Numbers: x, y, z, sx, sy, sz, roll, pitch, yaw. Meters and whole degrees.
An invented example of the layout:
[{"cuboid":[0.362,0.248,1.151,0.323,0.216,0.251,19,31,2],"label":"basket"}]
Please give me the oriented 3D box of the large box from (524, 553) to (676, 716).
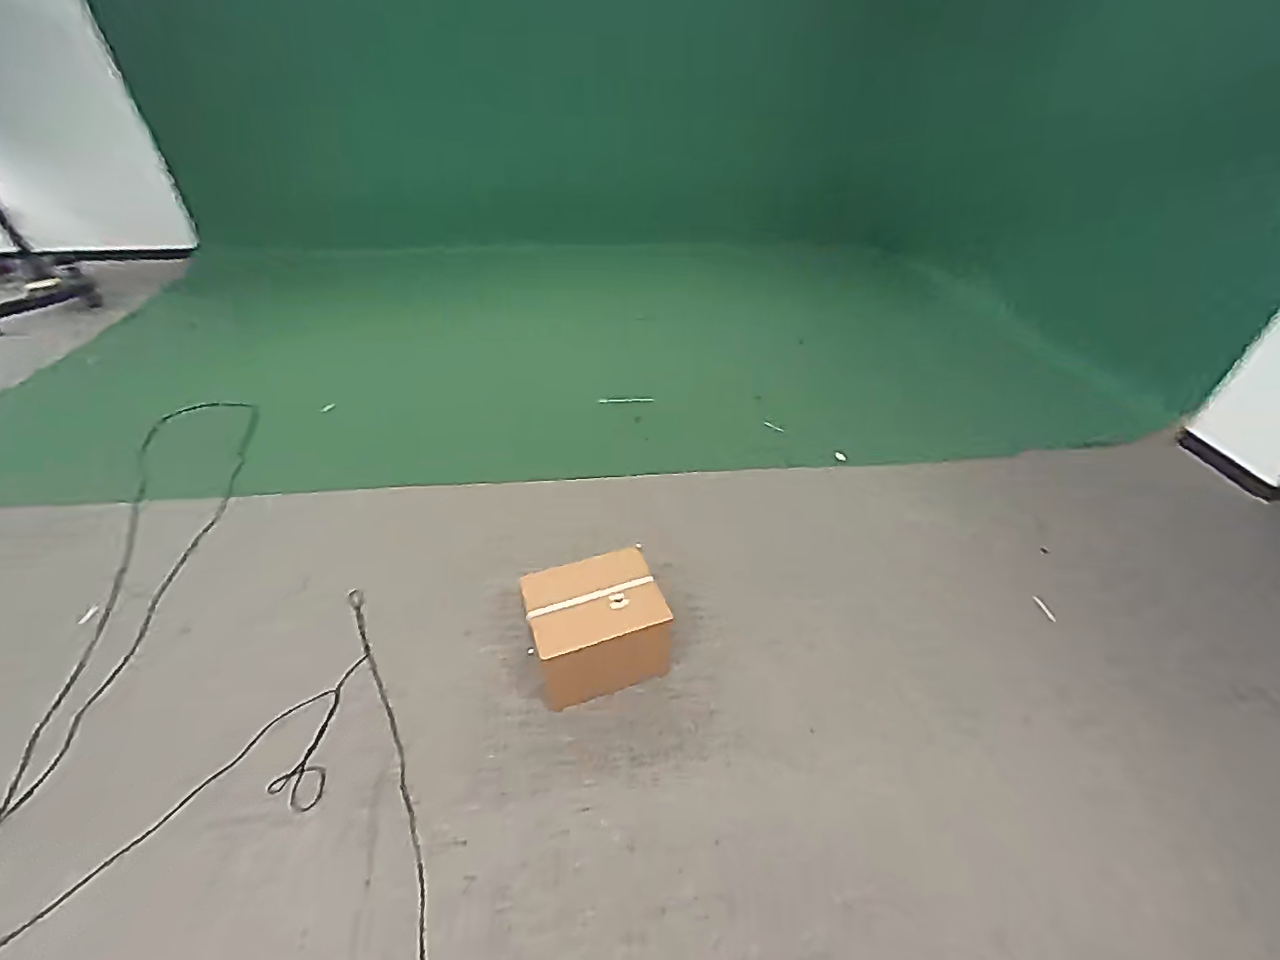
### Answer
[{"cuboid":[-0.133,0.494,1.754,0.408,0.320,0.320,-13,42,-17],"label":"large box"}]
